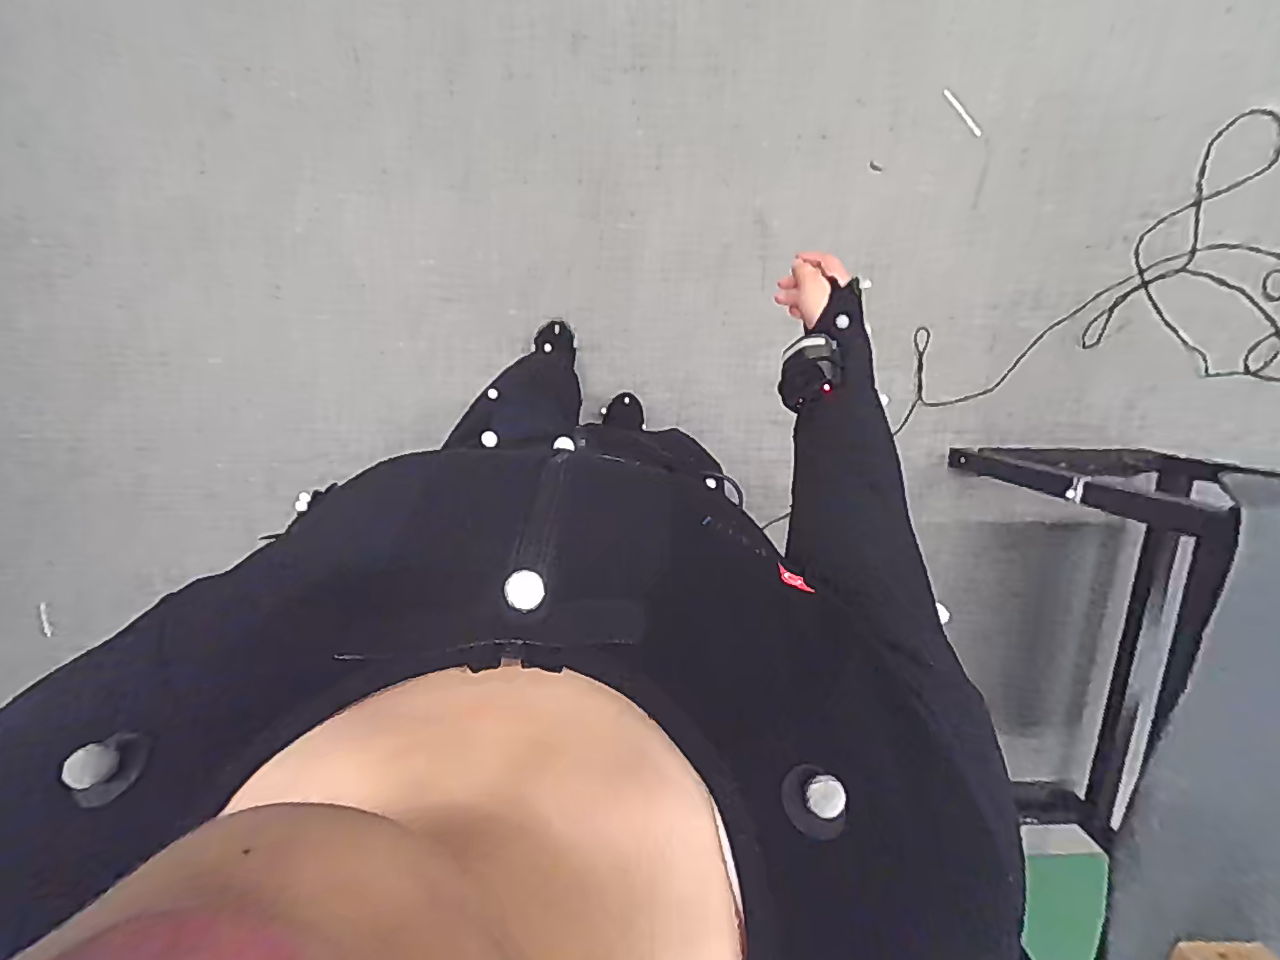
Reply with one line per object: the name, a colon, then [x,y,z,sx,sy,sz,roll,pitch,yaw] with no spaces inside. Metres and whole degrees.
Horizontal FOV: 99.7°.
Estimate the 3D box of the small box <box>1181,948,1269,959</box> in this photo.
small box: [1.011,0.909,0.876,0.168,0.176,0.179,4,102,-3]
